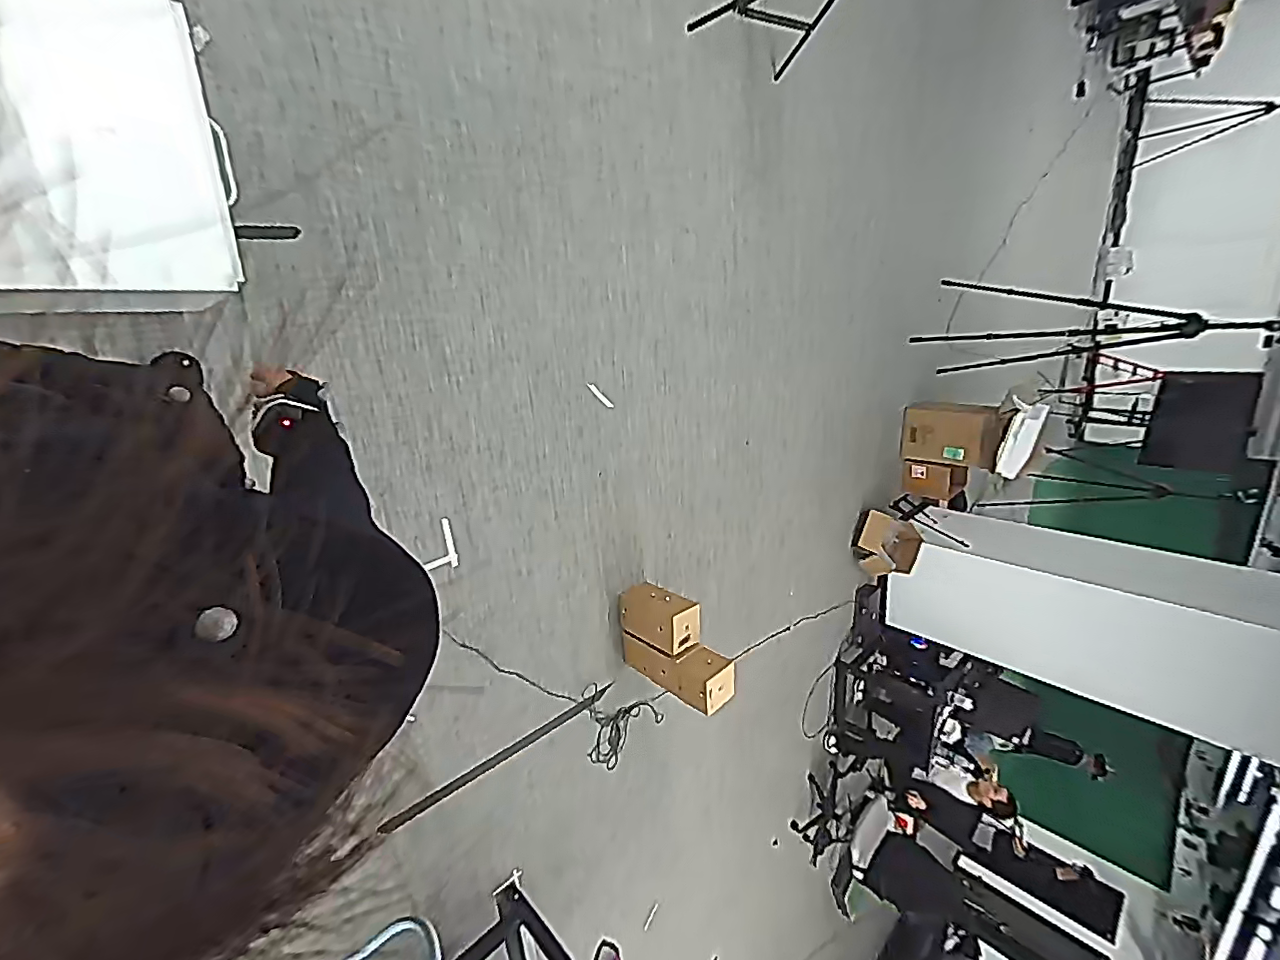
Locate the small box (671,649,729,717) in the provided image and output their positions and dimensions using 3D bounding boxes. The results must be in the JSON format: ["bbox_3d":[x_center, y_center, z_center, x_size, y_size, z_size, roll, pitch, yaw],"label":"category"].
[{"bbox_3d":[0.245,0.821,2.214,0.179,0.176,0.168,-20,113,-41],"label":"small box"}]

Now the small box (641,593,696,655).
[{"bbox_3d":[0.117,0.598,2.265,0.168,0.176,0.179,-13,107,-42],"label":"small box"}]
